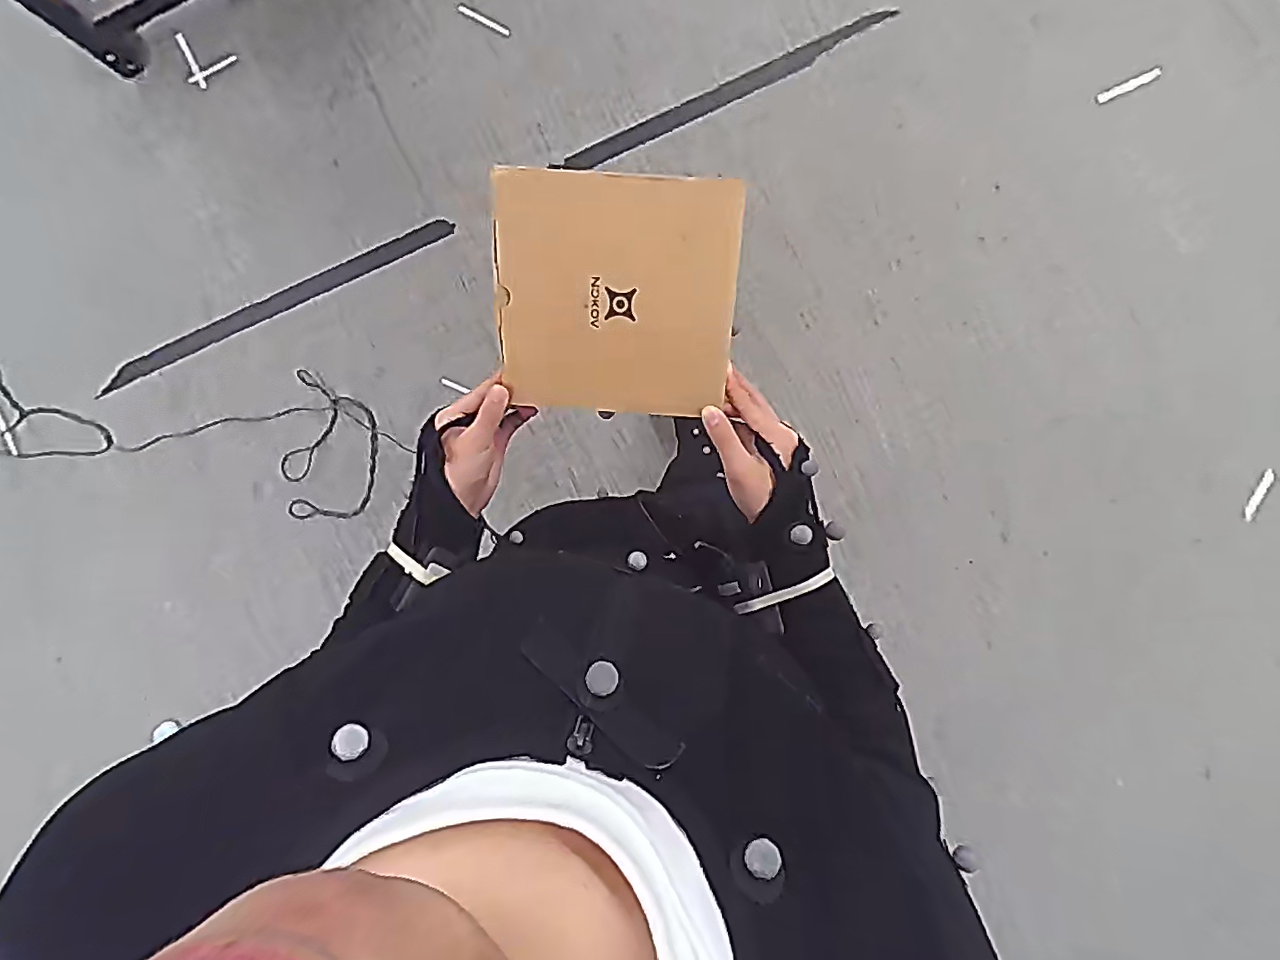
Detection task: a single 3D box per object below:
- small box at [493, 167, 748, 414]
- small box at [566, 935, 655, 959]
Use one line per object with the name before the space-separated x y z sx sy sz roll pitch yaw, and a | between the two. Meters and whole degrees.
small box | -0.014 -0.164 0.467 0.179 0.176 0.168 4 114 2
small box | -0.044 0.843 0.810 0.179 0.176 0.168 -25 88 5
